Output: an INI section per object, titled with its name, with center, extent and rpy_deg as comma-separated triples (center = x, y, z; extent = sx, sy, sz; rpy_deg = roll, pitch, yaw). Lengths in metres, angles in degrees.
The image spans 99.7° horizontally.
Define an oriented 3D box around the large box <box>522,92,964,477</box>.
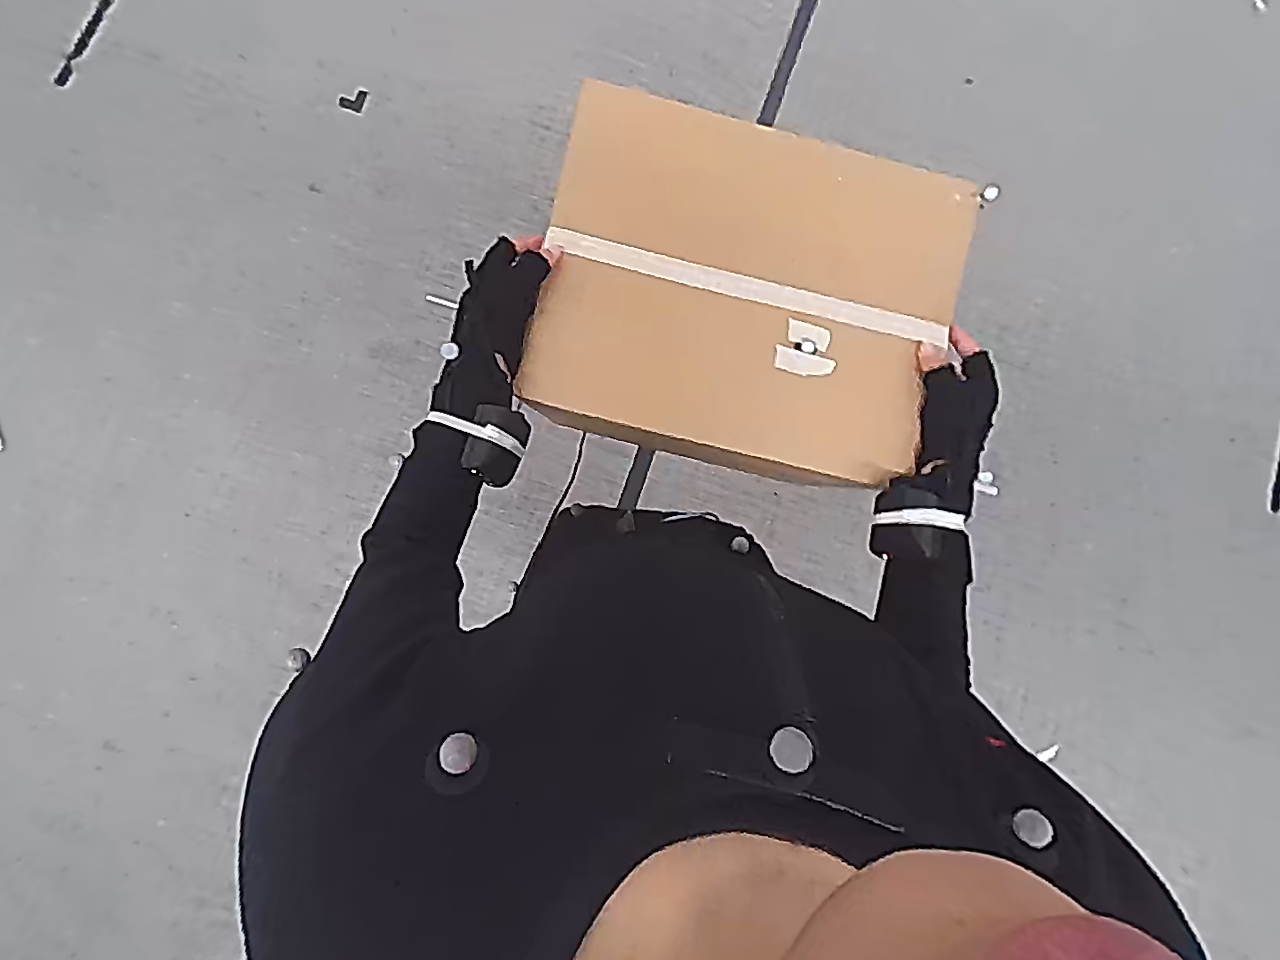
[large box]
center = 0.098, -0.197, 0.693
extent = 0.408, 0.320, 0.320
rpy_deg = 14, 92, -3
